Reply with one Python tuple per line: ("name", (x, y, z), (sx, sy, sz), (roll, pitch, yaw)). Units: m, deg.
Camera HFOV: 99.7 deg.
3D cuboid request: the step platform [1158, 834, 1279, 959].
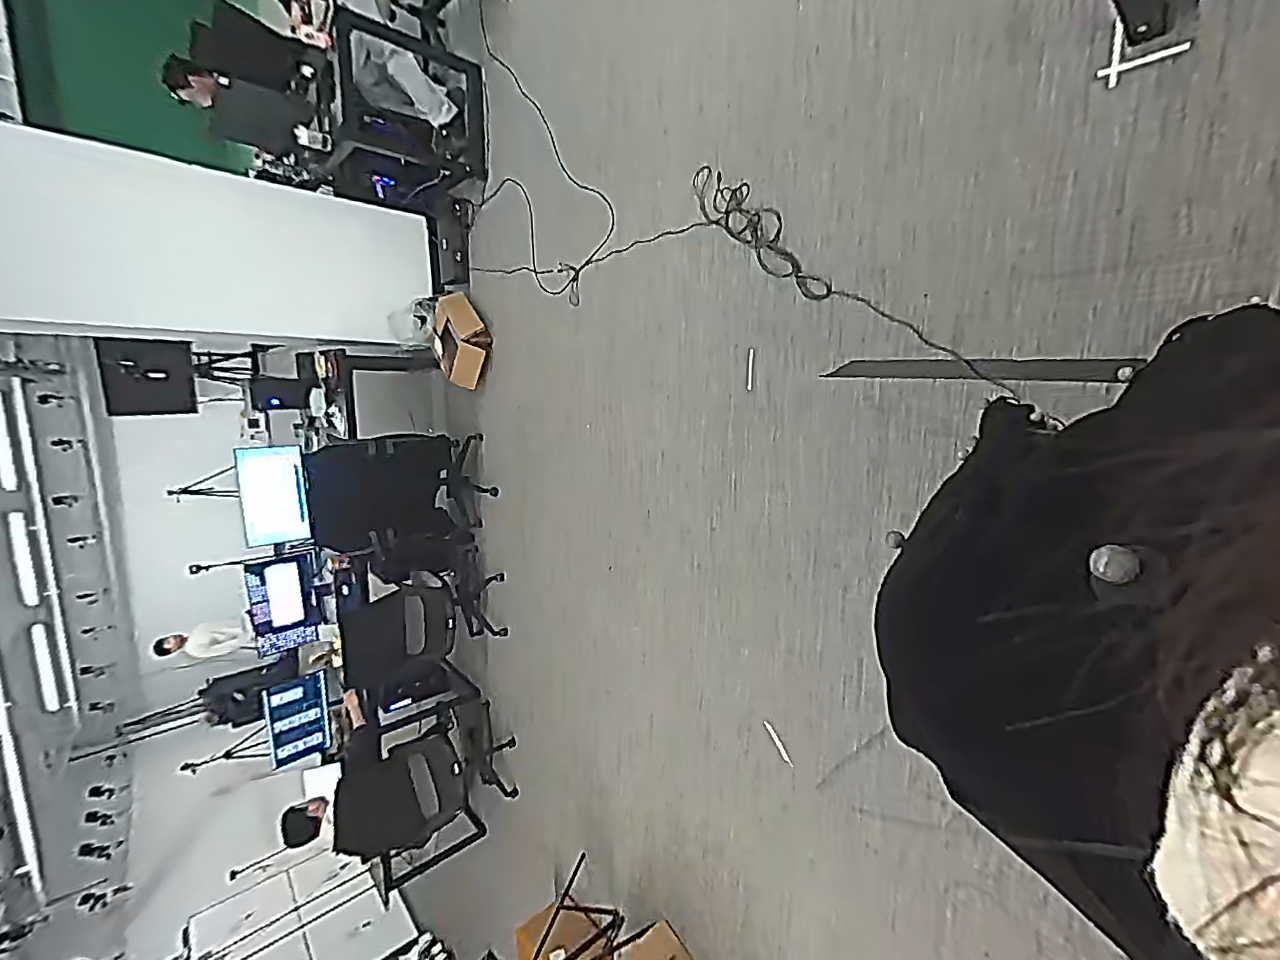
("step platform", (1.292, 0.934, 0.847), (0.684, 0.204, 0.286), (20, 111, 45))
